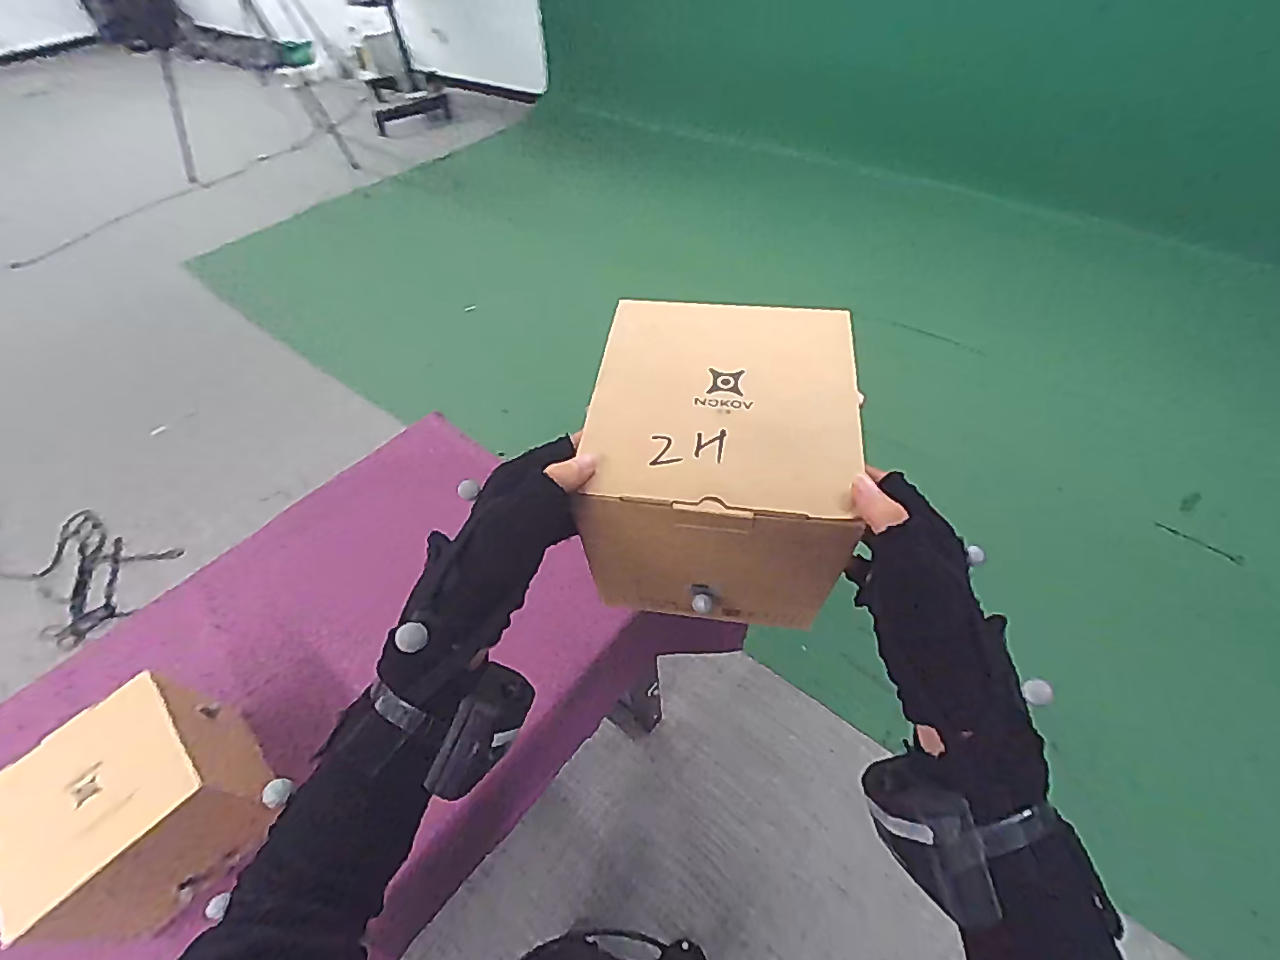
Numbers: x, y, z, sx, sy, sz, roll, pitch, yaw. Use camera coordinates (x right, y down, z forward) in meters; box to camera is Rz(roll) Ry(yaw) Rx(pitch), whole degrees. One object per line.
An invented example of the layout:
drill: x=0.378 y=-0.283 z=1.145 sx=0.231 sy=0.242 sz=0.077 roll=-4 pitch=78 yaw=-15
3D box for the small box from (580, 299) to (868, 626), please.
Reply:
small box: x=0.062 y=-0.011 z=0.414 sx=0.168 sy=0.176 sz=0.179 roll=6 pitch=56 yaw=9

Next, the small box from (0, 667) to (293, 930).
small box: x=-0.536 y=0.351 z=0.598 sx=0.179 sy=0.176 sz=0.168 roll=35 pitch=61 yaw=27
